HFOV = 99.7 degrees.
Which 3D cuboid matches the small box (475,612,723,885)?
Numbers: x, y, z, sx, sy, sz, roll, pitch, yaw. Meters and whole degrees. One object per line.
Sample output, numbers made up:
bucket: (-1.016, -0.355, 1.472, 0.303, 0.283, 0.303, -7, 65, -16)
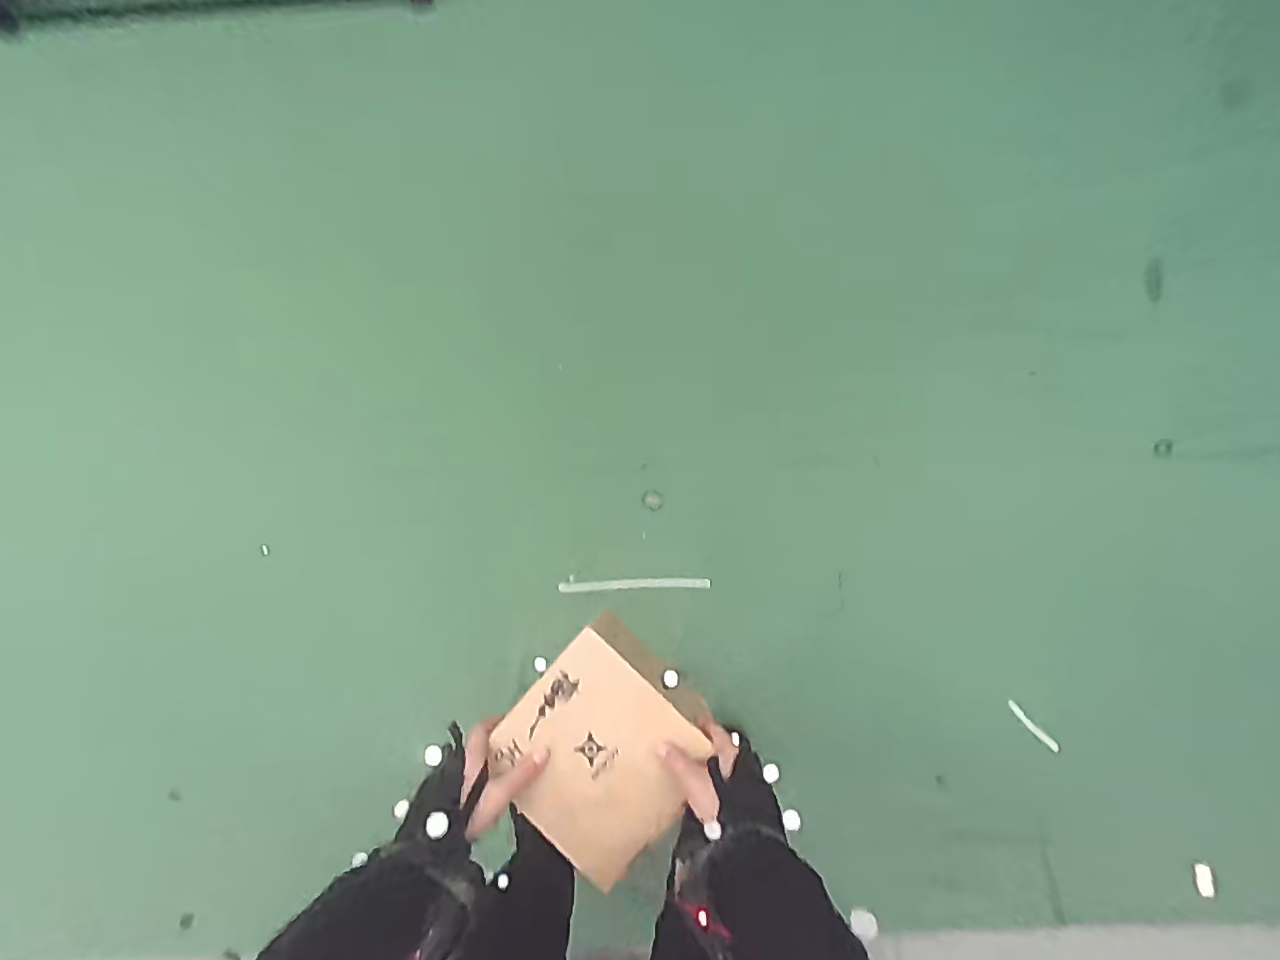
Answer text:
small box: (-0.036, 0.261, 0.580, 0.179, 0.176, 0.168, 42, 85, 6)
